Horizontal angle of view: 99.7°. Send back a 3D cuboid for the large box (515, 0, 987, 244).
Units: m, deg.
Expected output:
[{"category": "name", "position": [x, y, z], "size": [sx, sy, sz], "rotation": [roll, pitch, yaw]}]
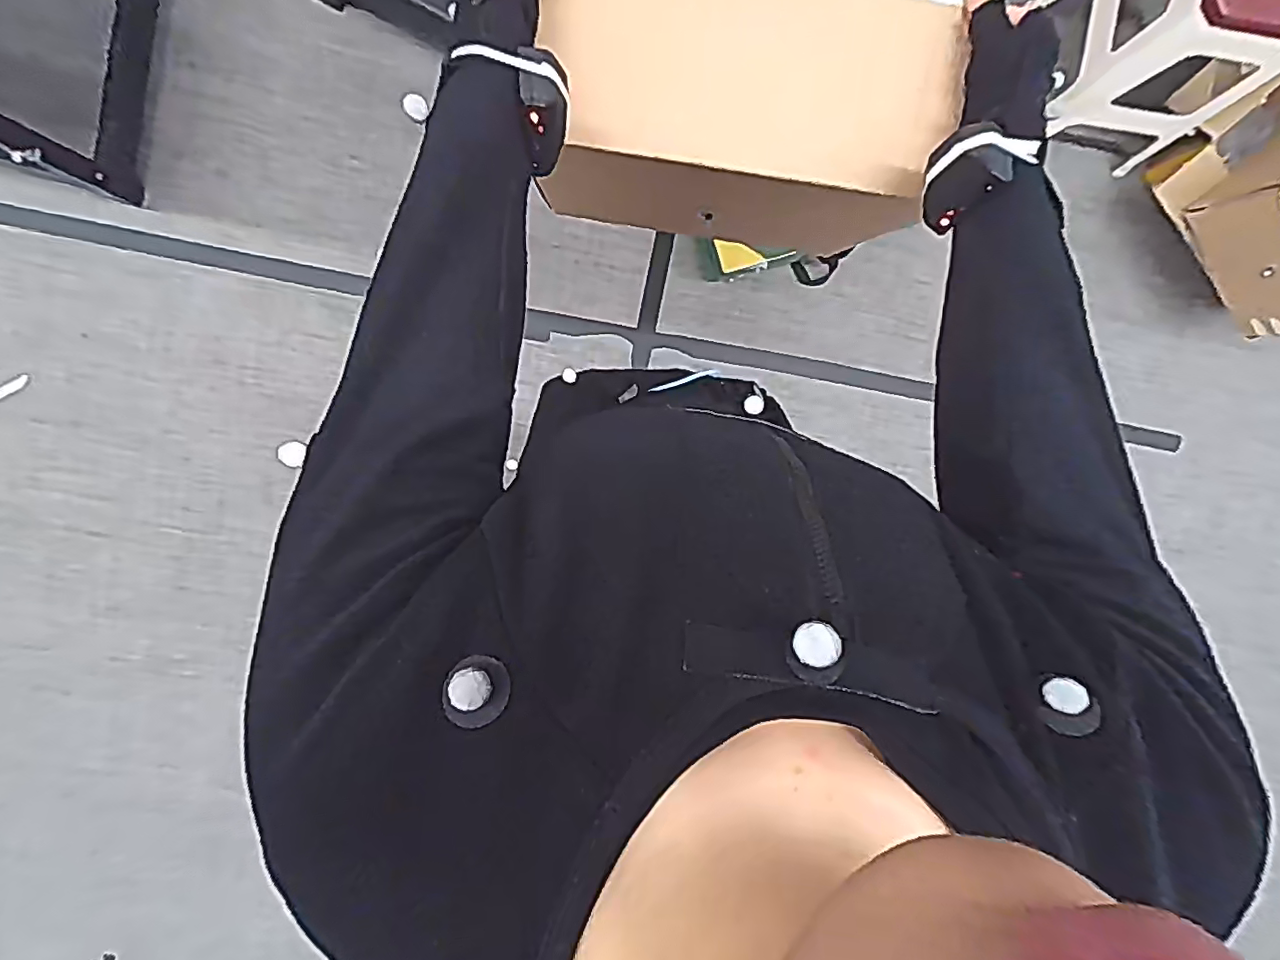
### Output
[{"category": "large box", "position": [0.100, -0.469, 0.599], "size": [0.408, 0.320, 0.320], "rotation": [7, 104, -4]}]
